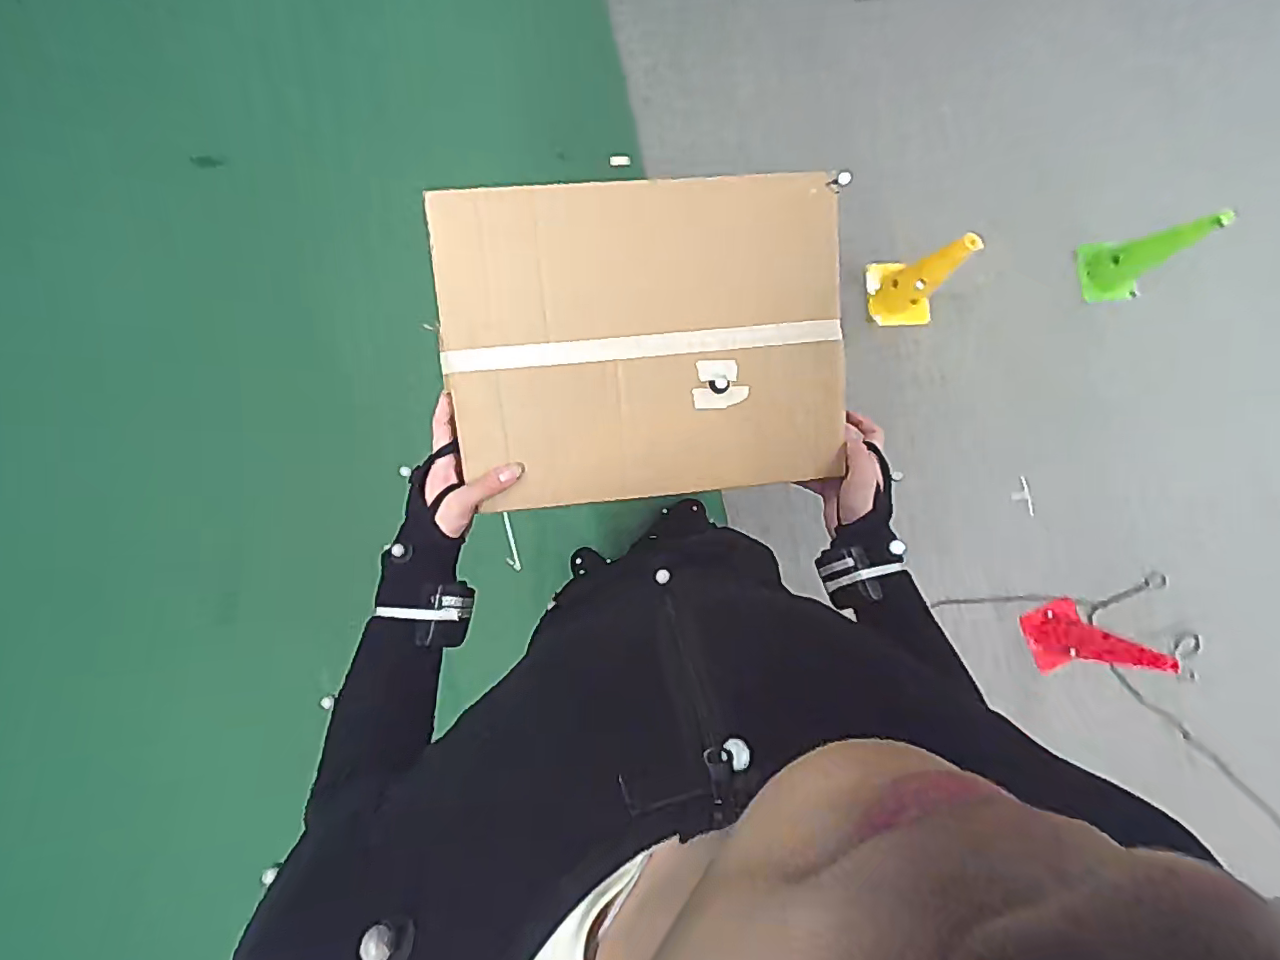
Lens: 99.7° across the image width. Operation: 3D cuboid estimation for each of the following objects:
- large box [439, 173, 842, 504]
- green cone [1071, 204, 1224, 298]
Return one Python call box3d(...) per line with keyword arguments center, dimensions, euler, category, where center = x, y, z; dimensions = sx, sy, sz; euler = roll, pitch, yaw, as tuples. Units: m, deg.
box3d(center=(-0.003, -0.165, 0.704), dimensions=(0.408, 0.320, 0.320), euler=(-5, 99, -6), category="large box")
box3d(center=(1.573, -0.732, 1.656), dimensions=(0.202, 0.368, 0.200), euler=(-7, 87, -4), category="green cone")
